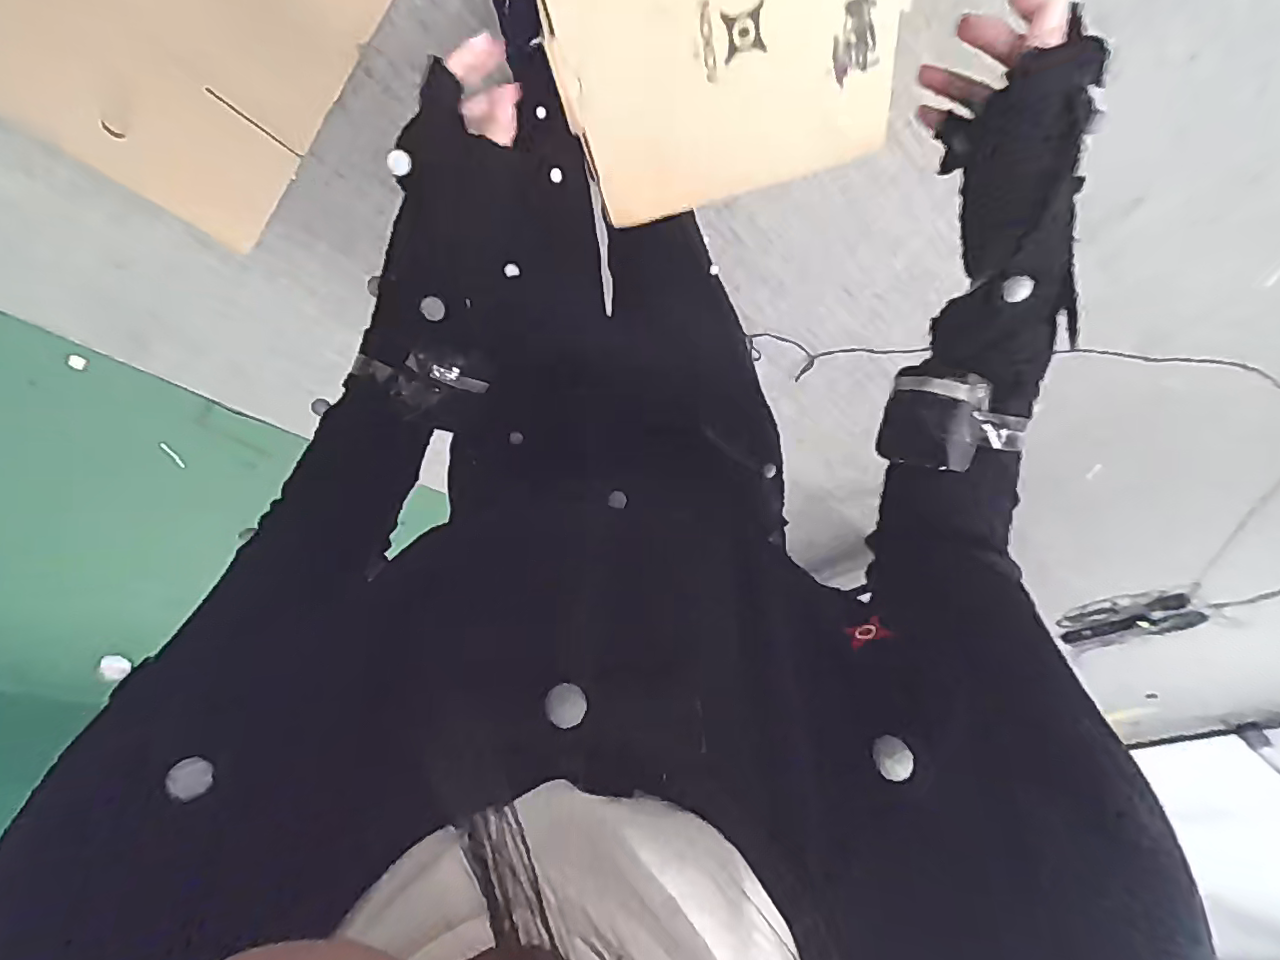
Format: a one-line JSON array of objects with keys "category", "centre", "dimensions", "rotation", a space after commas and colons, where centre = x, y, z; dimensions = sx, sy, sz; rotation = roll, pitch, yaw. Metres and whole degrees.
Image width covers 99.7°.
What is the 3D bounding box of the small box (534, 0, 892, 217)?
[{"category": "small box", "centre": [0.038, -0.301, 0.328], "dimensions": [0.179, 0.176, 0.168], "rotation": [-13, 142, 12]}]
